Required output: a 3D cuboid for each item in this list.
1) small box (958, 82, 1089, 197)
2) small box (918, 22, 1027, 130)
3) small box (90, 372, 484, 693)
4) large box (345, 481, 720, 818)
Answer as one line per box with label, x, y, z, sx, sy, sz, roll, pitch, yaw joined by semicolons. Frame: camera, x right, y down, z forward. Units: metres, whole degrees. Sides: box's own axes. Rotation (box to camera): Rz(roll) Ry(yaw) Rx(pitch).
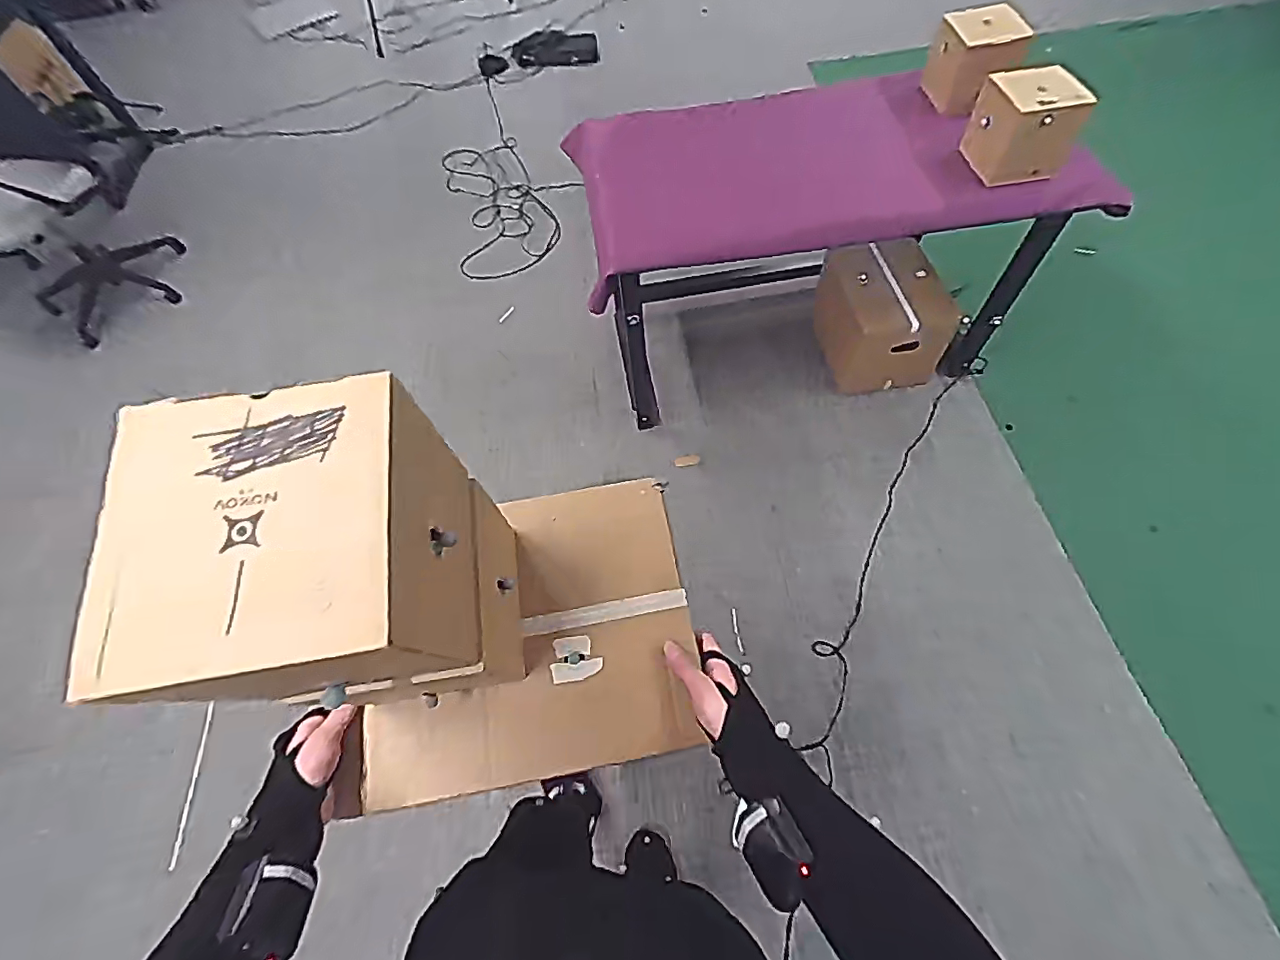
small box;0.893;-0.804;1.283;0.168;0.176;0.179;-8;57;3
small box;0.874;-1.075;1.443;0.168;0.176;0.179;-8;61;3
small box;-0.217;0.049;0.391;0.168;0.176;0.179;-8;68;-3
large box;-0.136;0.231;0.757;0.408;0.320;0.320;-9;68;-4
